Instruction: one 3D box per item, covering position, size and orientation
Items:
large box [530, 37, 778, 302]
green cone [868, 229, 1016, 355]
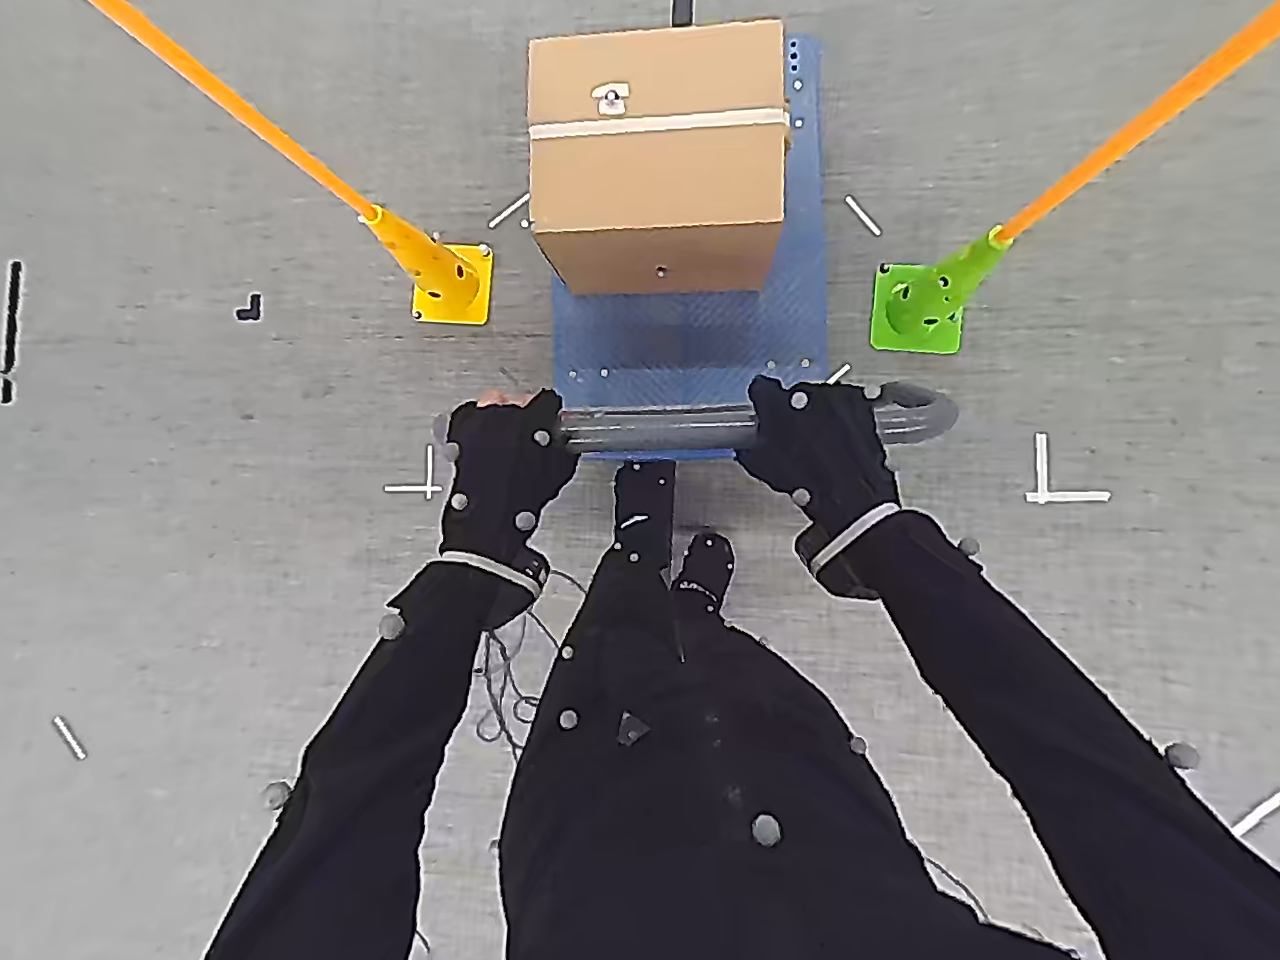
[{"bbox_3d":[0.036,-0.538,1.014,0.408,0.320,0.320,0,90,7],"label":"large box"},{"bbox_3d":[0.625,-0.398,1.091,0.202,0.368,0.200,5,89,5],"label":"green cone"}]
